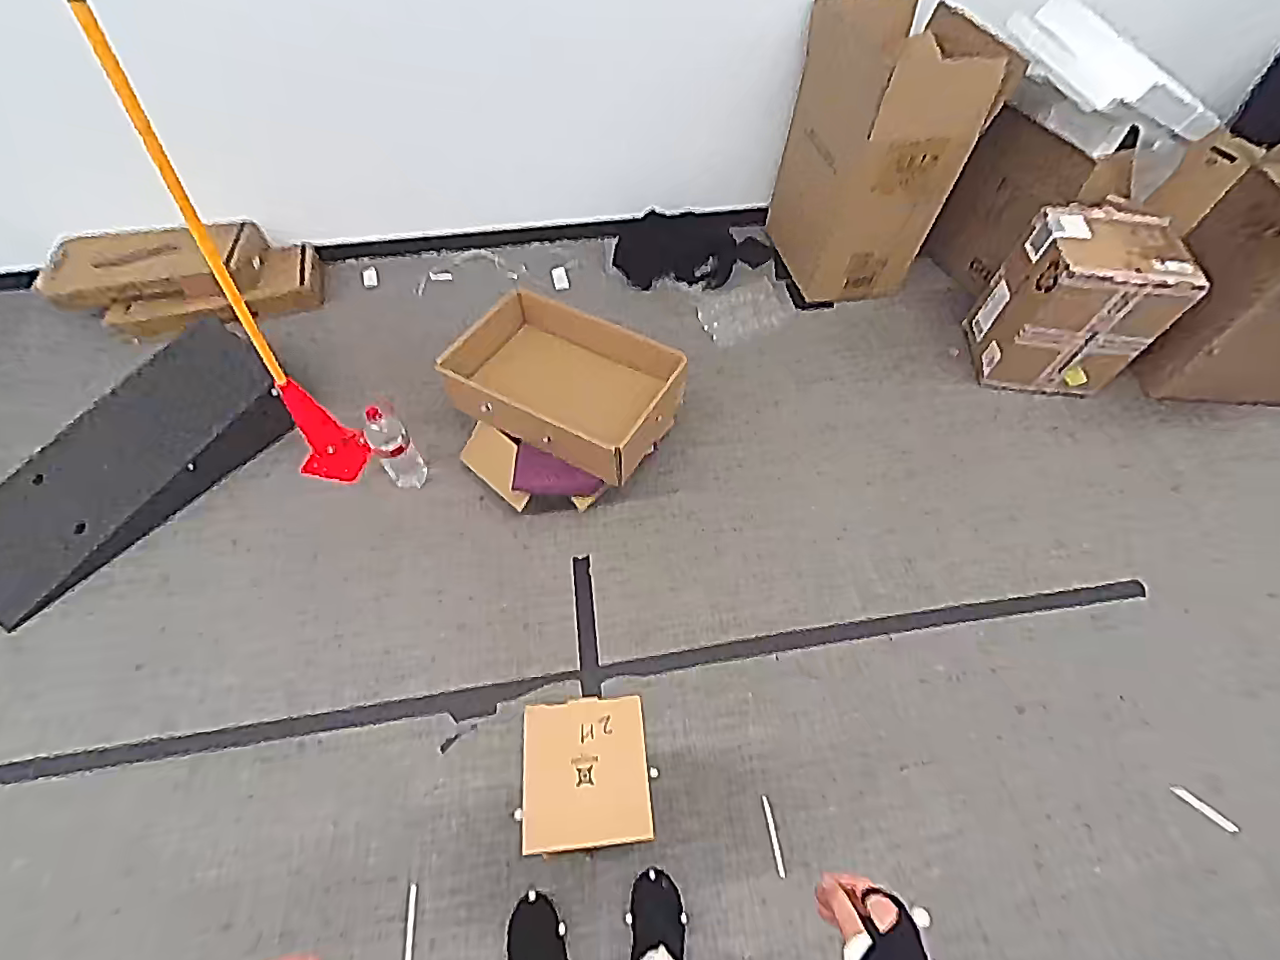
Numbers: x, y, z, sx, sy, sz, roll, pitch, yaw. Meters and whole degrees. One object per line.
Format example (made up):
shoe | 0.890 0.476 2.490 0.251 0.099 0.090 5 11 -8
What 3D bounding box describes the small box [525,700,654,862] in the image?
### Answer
small box | -0.069 0.436 0.782 0.168 0.176 0.179 -5 55 -4
